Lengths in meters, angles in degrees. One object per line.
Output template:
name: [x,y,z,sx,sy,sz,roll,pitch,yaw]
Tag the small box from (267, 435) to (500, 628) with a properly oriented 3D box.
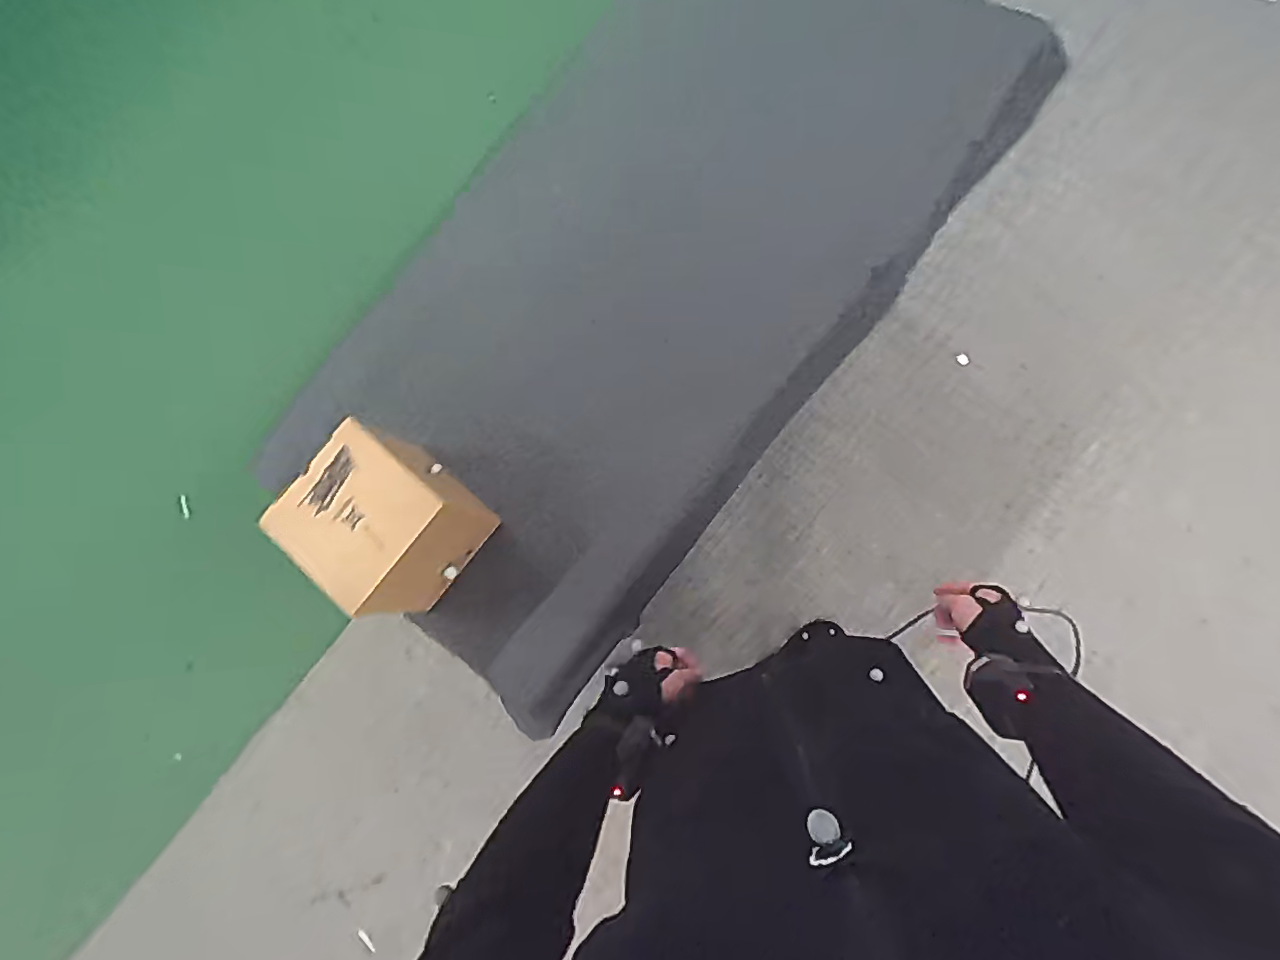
small box: [-0.321,0.073,0.709,0.179,0.176,0.168,37,86,13]
